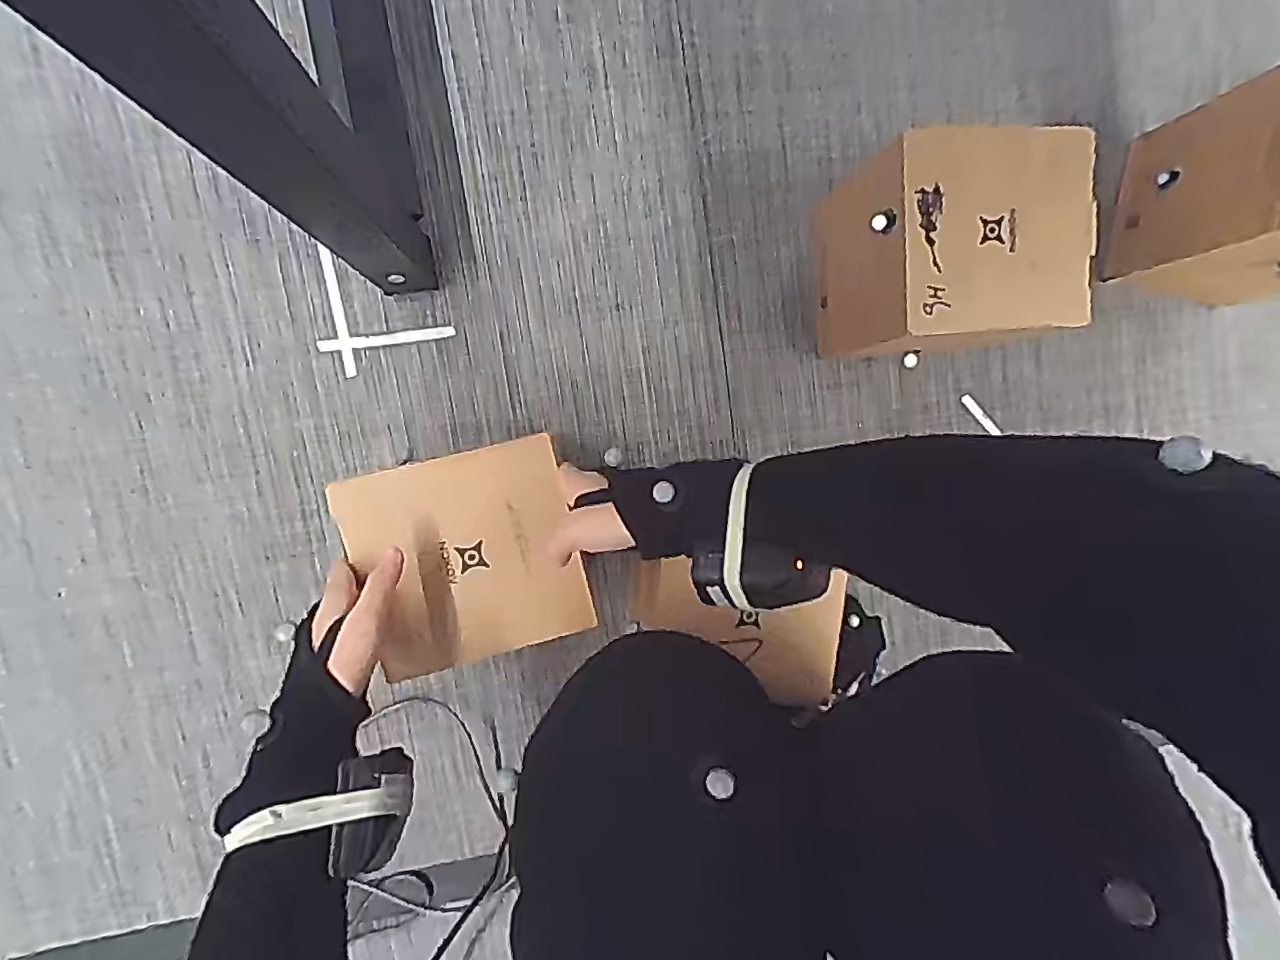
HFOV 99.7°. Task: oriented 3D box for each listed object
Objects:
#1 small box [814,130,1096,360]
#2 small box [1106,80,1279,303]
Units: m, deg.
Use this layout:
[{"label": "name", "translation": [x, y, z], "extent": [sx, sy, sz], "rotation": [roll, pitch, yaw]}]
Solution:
[{"label": "small box", "translation": [0.291, -0.212, 0.530], "extent": [0.179, 0.176, 0.168], "rotation": [-5, 96, -7]}, {"label": "small box", "translation": [0.659, -0.295, 0.569], "extent": [0.179, 0.176, 0.168], "rotation": [8, 94, -7]}]
